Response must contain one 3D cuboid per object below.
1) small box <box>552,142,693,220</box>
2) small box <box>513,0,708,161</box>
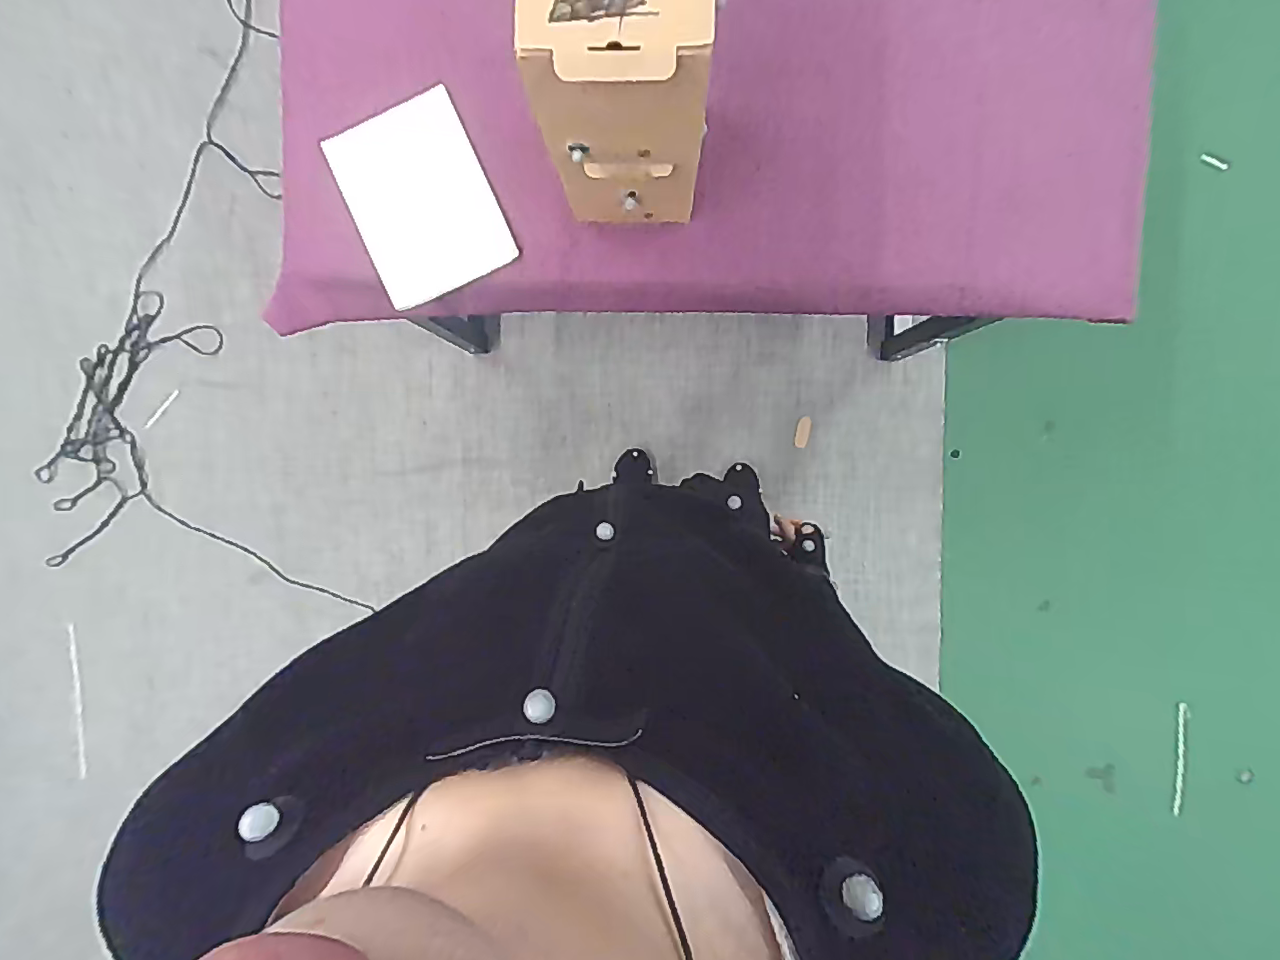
[{"bbox_3d":[-0.014,-0.452,0.691,0.168,0.176,0.179,1,93,1],"label":"small box"},{"bbox_3d":[-0.019,-0.440,0.526,0.168,0.176,0.179,2,91,2],"label":"small box"}]
